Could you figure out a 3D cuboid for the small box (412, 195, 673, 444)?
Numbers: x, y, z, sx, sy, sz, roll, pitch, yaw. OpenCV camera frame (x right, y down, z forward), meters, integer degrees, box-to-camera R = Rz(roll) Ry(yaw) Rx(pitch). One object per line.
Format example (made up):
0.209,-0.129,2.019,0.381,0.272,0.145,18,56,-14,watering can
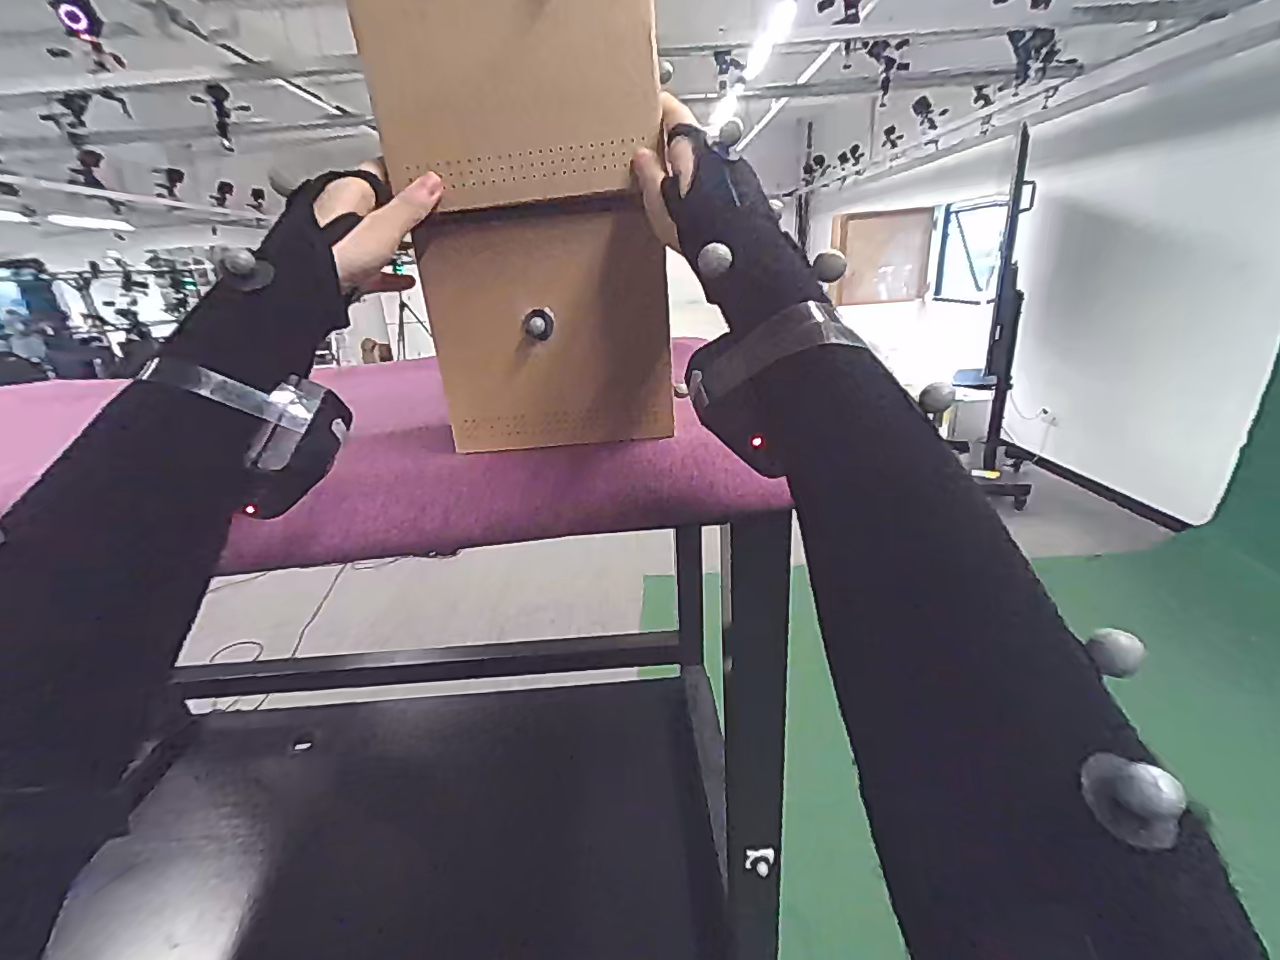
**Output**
-0.064,-0.138,0.467,0.179,0.176,0.168,-5,21,1,small box

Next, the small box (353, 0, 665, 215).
-0.075,-0.287,0.385,0.179,0.176,0.168,-7,21,1,small box
